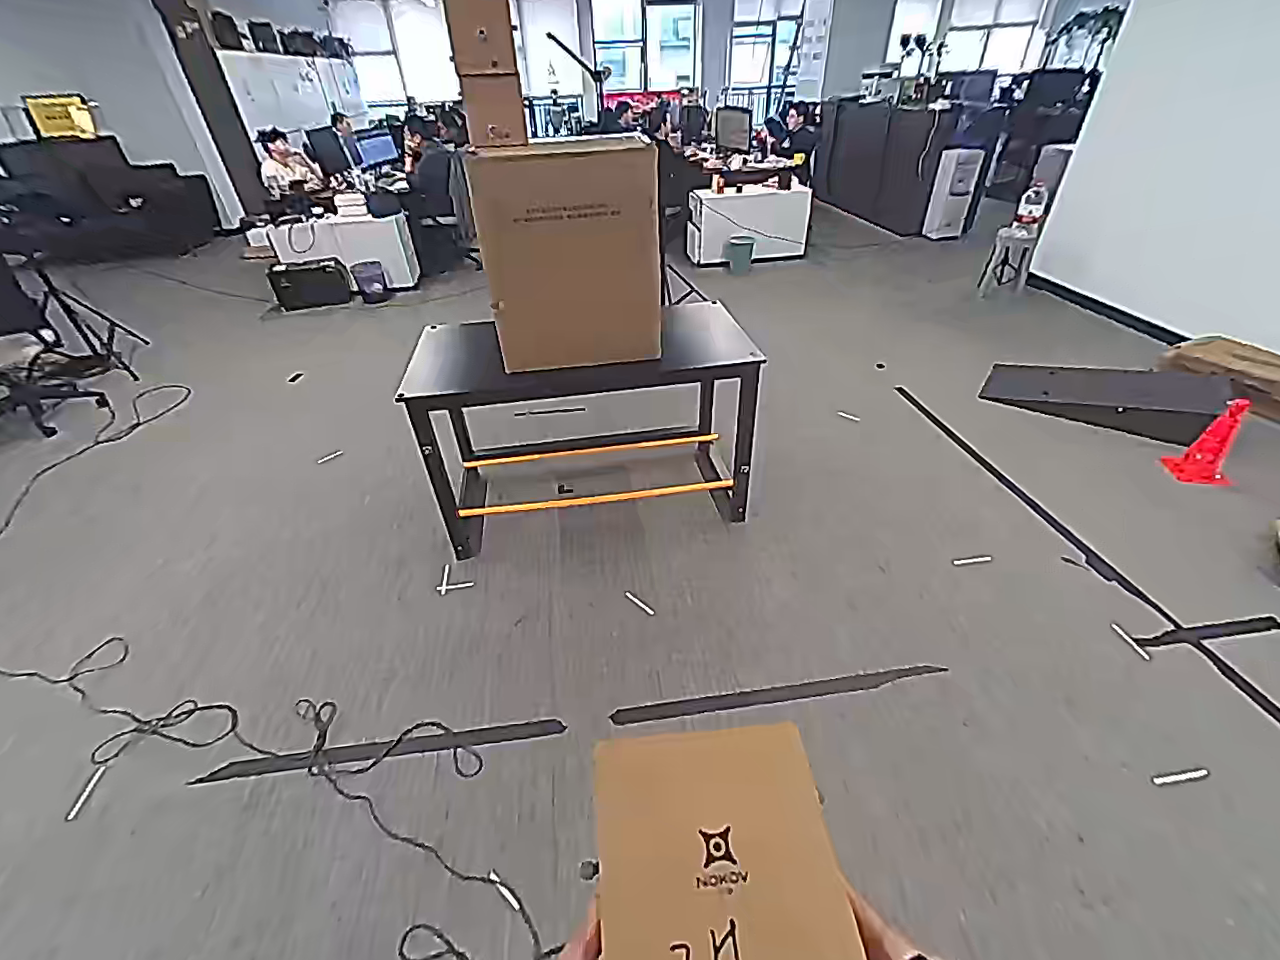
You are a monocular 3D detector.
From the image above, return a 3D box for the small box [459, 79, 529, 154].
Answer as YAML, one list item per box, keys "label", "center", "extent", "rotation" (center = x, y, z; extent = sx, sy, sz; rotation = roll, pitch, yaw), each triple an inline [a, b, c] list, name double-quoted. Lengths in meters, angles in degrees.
- label: "small box"
  center: [-0.419, -1.052, 1.566]
  extent: [0.168, 0.176, 0.179]
  rotation: [-10, 38, -8]

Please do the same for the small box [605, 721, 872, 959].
- label: "small box"
  center: [0.058, 0.318, 0.430]
  extent: [0.168, 0.176, 0.179]
  rotation: [-4, 45, -4]

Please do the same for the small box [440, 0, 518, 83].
- label: "small box"
  center: [-0.426, -1.174, 1.456]
  extent: [0.168, 0.176, 0.179]
  rotation: [-8, 37, -7]
